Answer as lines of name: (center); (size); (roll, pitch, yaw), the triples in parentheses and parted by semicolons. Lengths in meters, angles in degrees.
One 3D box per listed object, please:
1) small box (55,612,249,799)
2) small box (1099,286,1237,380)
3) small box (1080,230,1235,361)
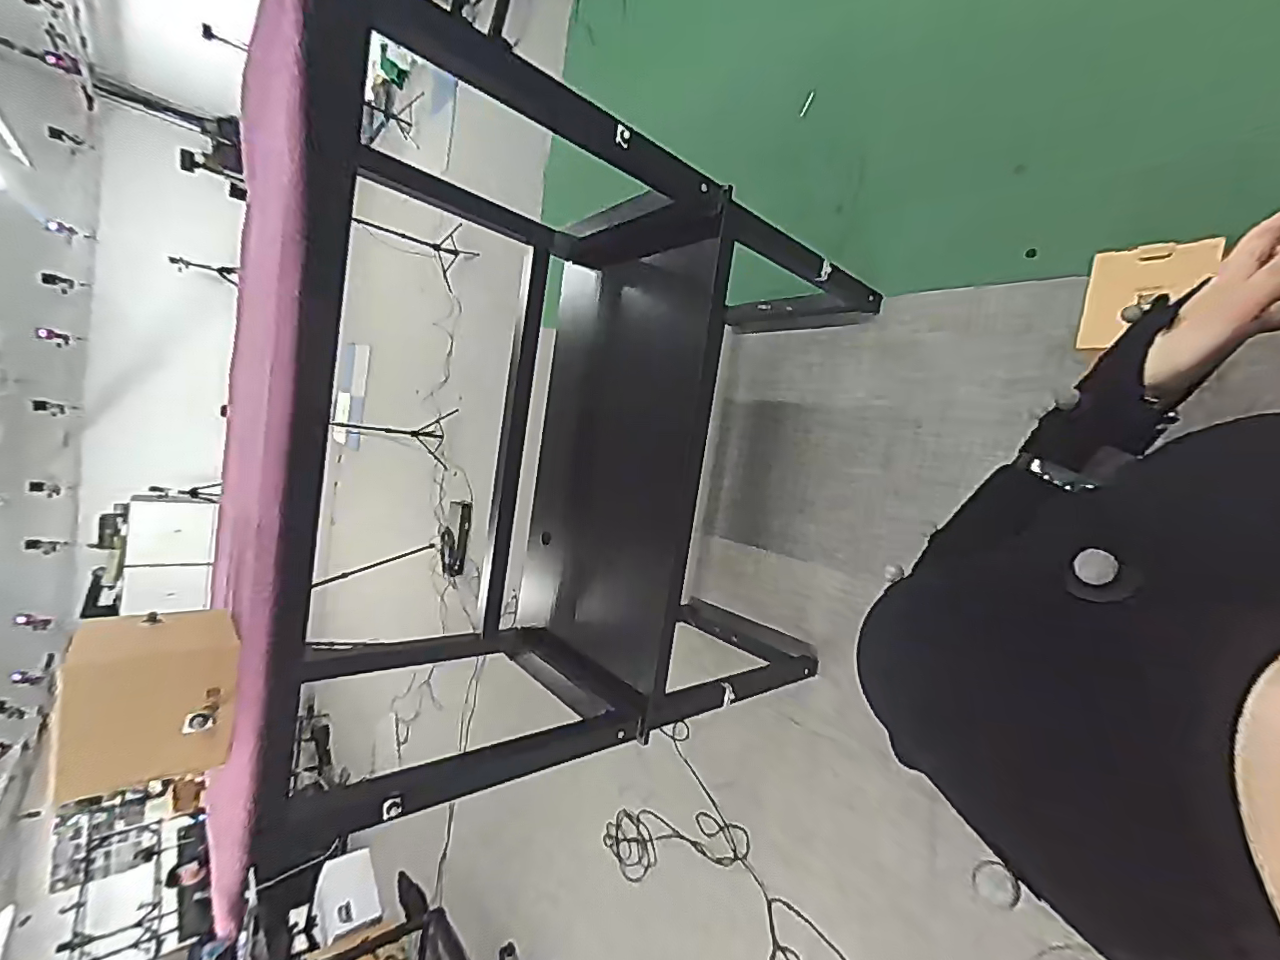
small box: (-0.644, 0.281, 0.725); (0.179, 0.176, 0.168); (7, 93, 48)
small box: (1.042, -0.294, 1.067); (0.168, 0.176, 0.179); (11, 95, 49)
small box: (0.920, -0.311, 0.960); (0.168, 0.176, 0.179); (12, 95, 50)
